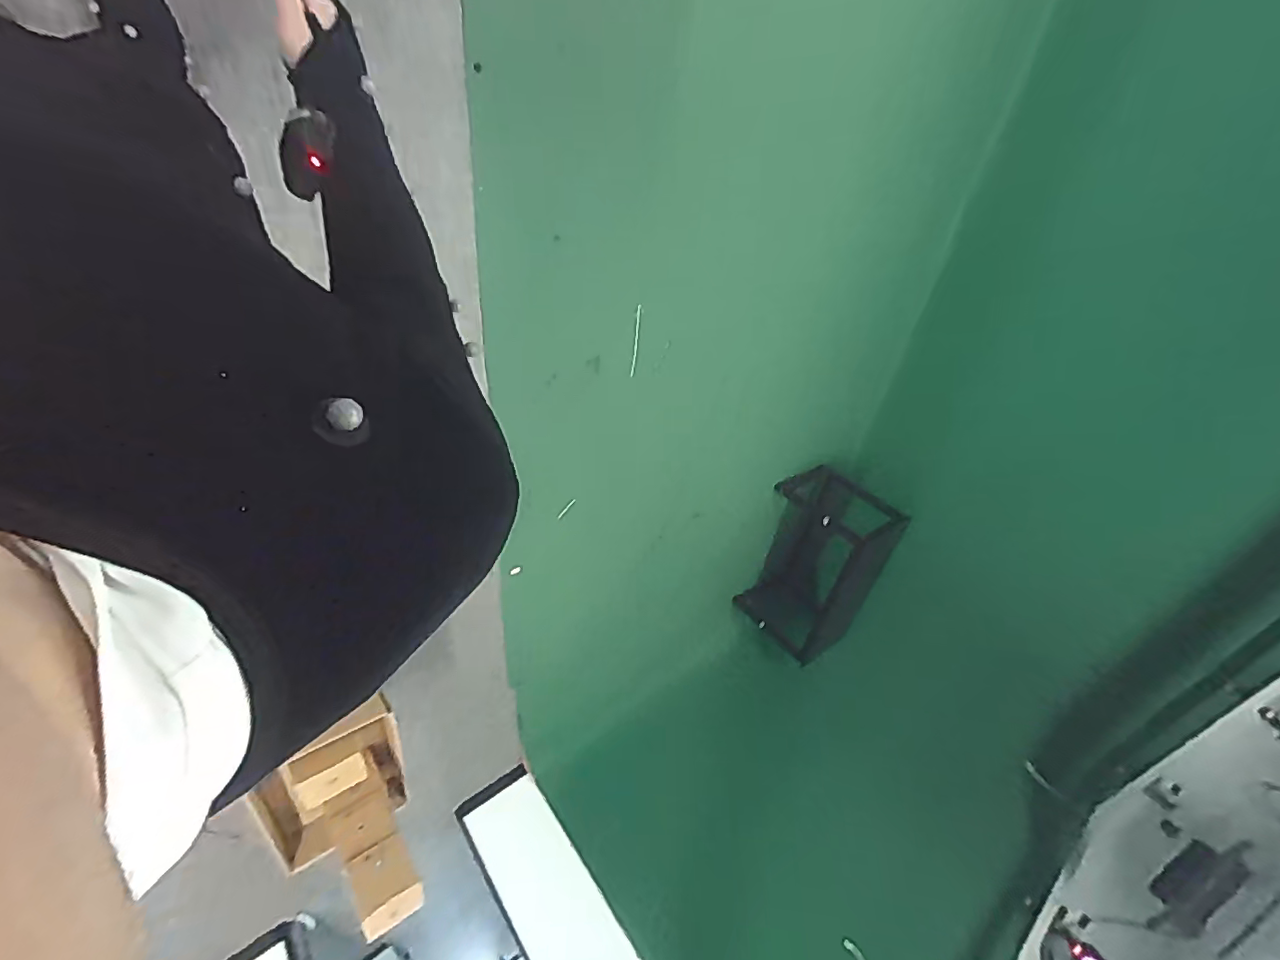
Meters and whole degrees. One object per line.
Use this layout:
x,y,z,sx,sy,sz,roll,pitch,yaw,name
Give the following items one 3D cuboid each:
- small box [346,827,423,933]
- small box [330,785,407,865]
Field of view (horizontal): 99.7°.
-0.770,1.197,1.631,0.168,0.176,0.179,-18,133,-36,small box
-0.872,1.123,1.740,0.168,0.176,0.179,-23,136,-30,small box
